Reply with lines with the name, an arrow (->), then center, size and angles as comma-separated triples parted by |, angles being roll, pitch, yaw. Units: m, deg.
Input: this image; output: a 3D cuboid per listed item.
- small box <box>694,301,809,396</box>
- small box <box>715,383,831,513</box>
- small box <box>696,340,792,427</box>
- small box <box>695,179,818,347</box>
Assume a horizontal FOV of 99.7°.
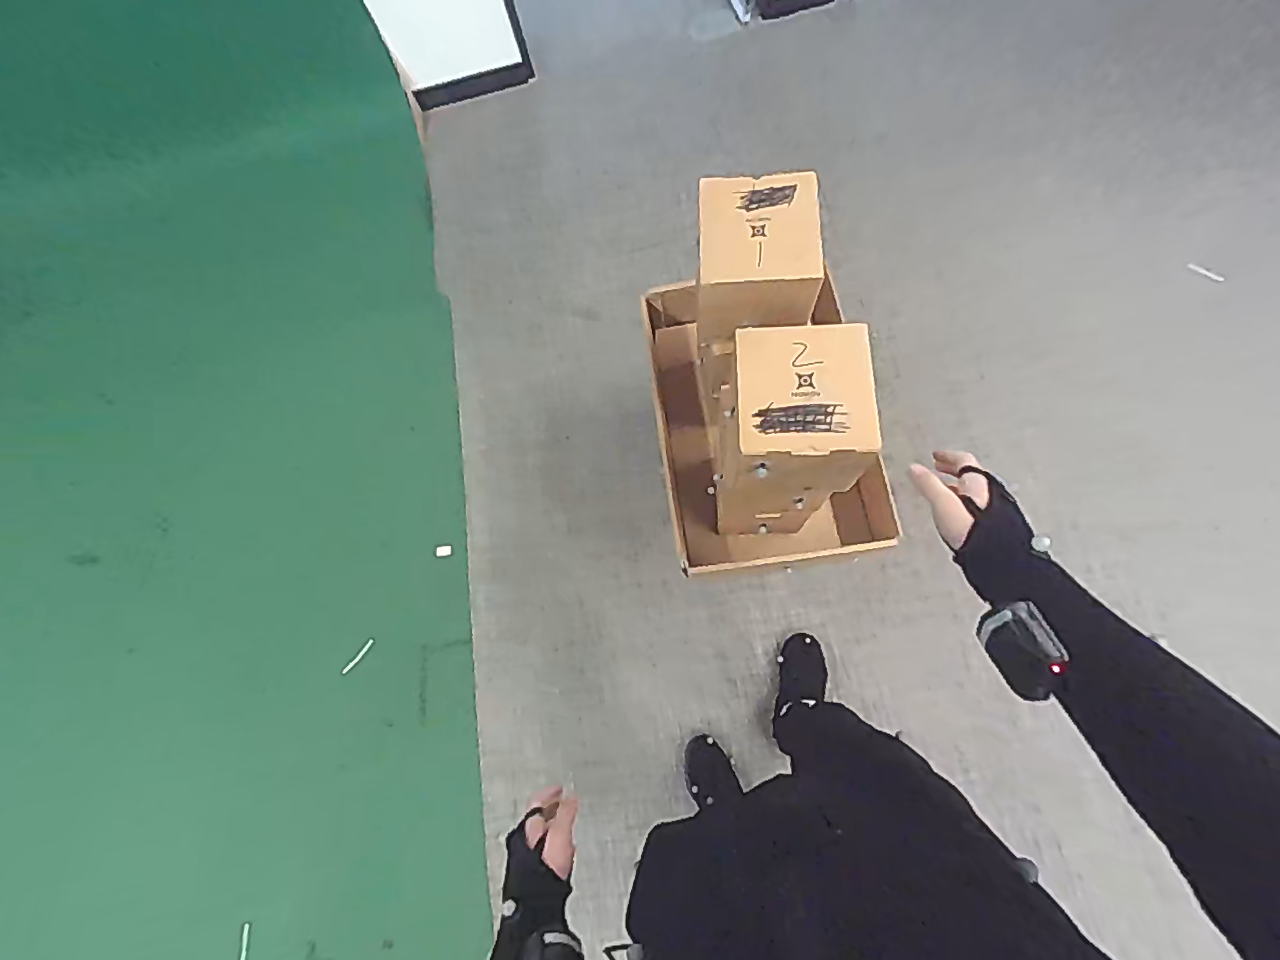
small box -> 0.191, -0.275, 0.983 | 0.168, 0.176, 0.179 | -10, 74, 3
small box -> 0.213, -0.044, 0.905 | 0.168, 0.176, 0.179 | -2, 72, 6
small box -> 0.209, -0.232, 1.138 | 0.168, 0.176, 0.179 | -10, 73, 4
small box -> 0.168, -0.323, 0.828 | 0.168, 0.176, 0.179 | 0, 75, 6
